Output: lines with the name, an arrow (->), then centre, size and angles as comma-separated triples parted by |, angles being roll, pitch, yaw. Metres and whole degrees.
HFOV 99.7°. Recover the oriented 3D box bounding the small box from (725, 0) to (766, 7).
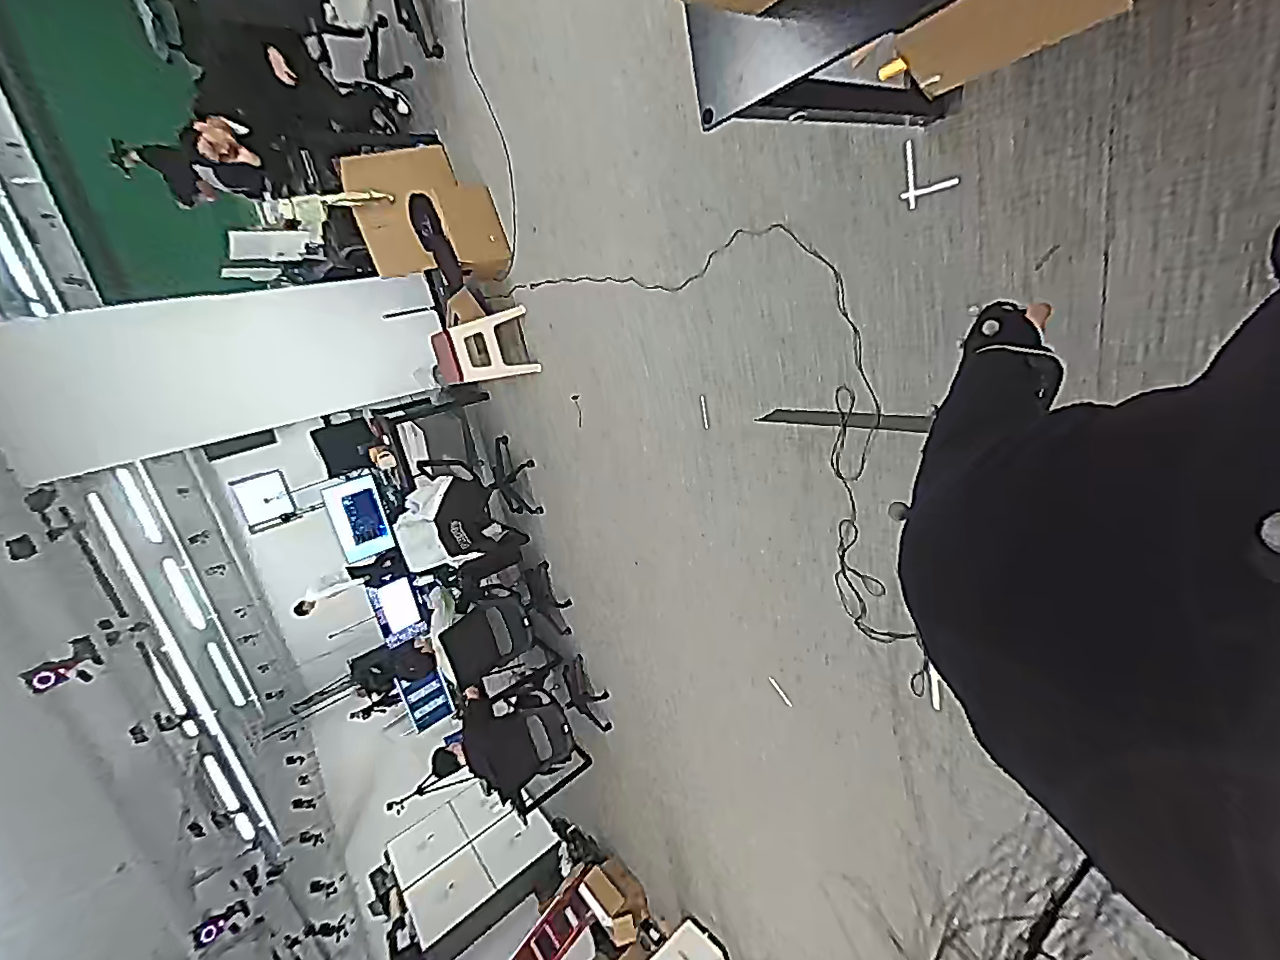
small box -> 0.135, -0.699, 0.633 | 0.179, 0.176, 0.168 | 13, 120, 50
